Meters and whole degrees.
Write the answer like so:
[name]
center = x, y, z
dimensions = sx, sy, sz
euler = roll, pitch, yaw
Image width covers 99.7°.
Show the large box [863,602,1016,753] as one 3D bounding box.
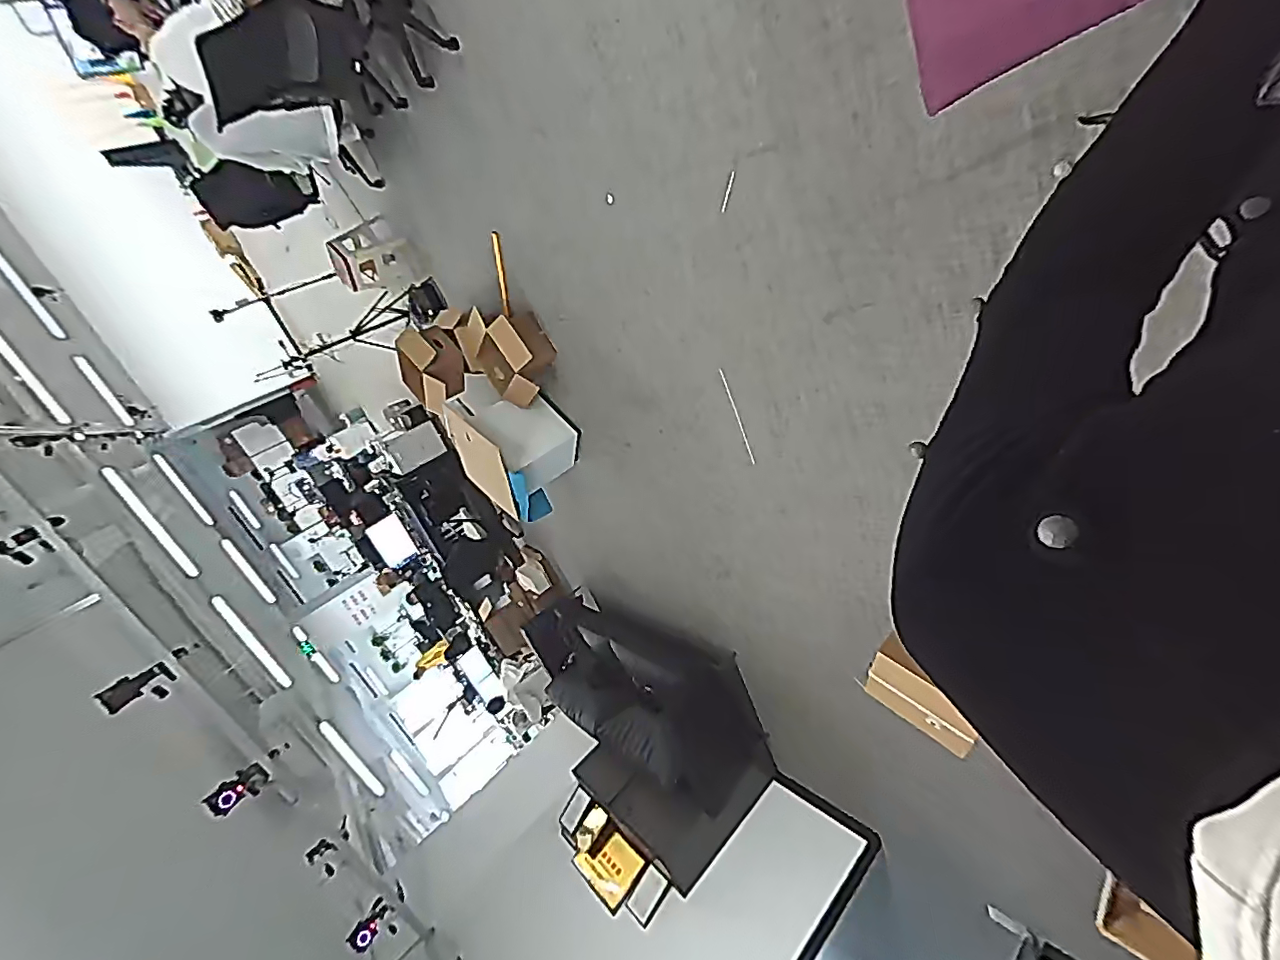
[large box]
center = 1.160, 0.762, 2.127
dimensions = 0.408, 0.320, 0.320
euler = 30, 143, 35
